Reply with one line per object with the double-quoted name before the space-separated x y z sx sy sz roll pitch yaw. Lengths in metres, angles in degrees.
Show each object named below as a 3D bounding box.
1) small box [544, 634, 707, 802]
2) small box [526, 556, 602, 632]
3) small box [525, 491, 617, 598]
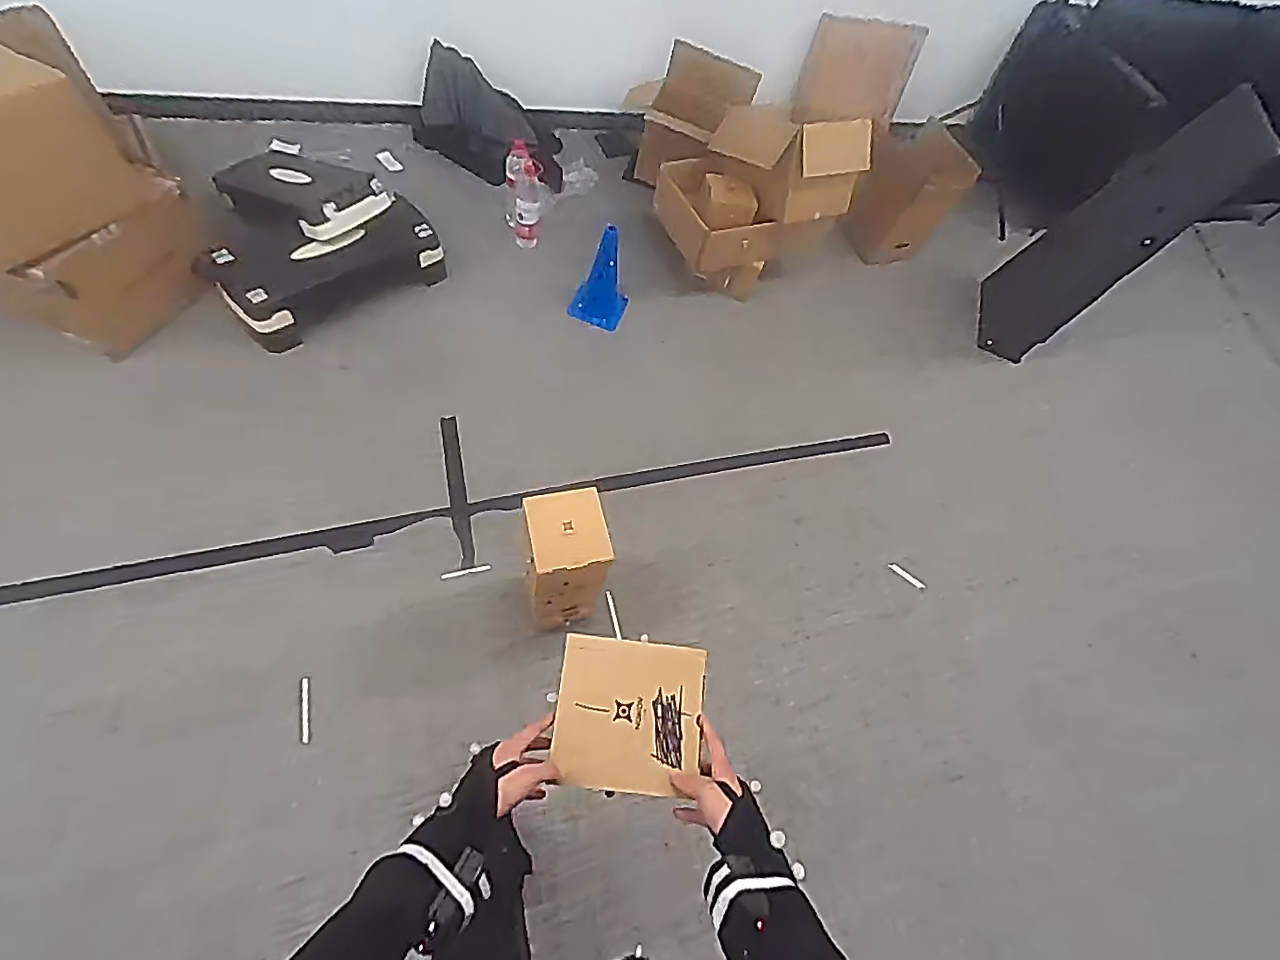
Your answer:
"small box" -0.020 0.304 0.707 0.179 0.176 0.168 8 67 -3
"small box" -0.218 0.301 1.499 0.168 0.176 0.179 -12 67 -18
"small box" -0.162 0.146 1.215 0.168 0.176 0.179 -9 65 -17
